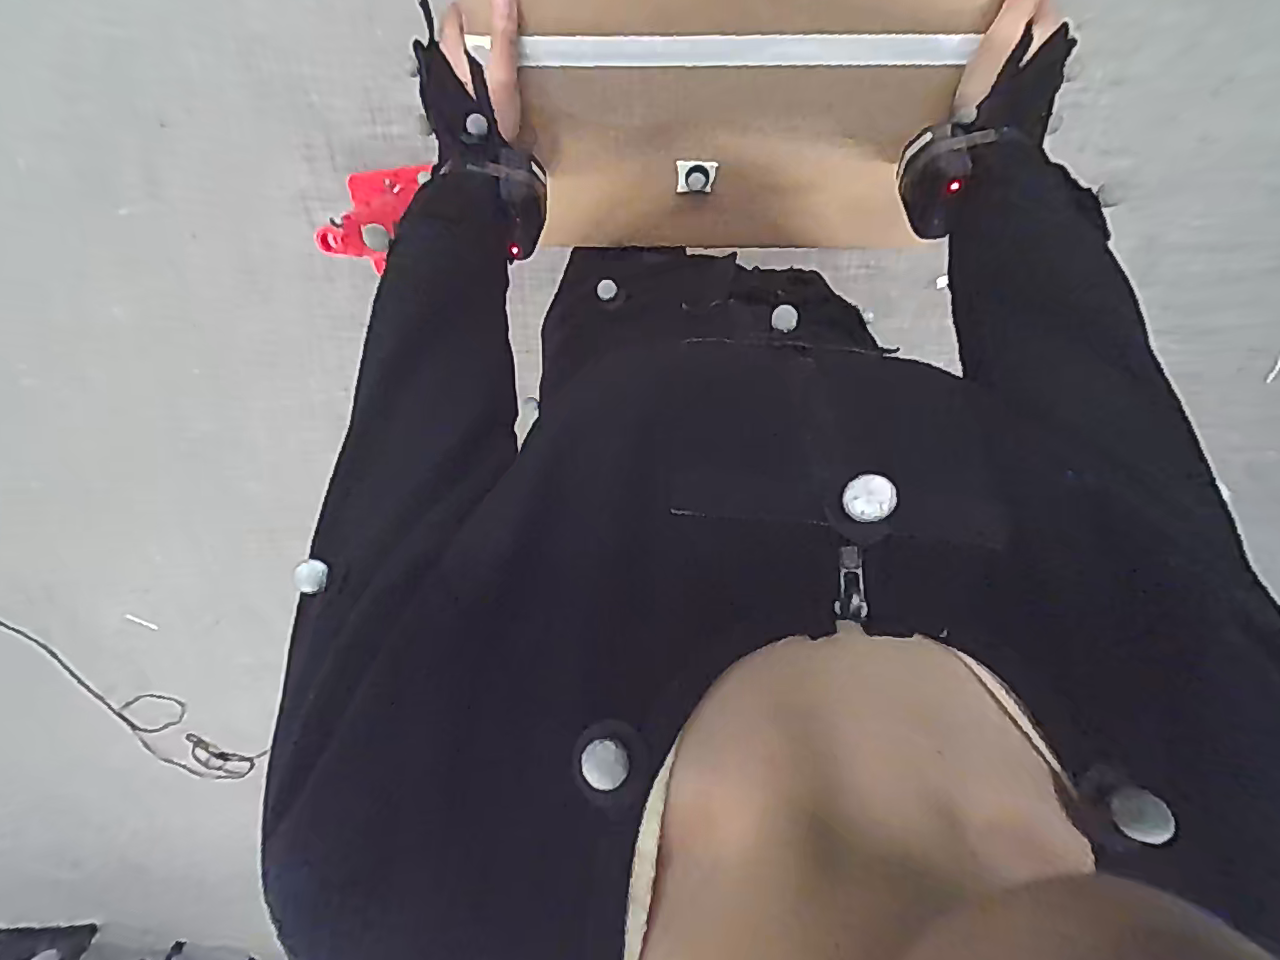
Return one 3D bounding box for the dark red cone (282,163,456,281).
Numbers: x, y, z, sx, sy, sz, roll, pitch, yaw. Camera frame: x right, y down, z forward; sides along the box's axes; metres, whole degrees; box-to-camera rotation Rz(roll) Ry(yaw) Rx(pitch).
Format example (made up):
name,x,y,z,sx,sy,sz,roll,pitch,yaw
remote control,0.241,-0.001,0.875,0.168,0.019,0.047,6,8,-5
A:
name,x,y,z,sx,sy,sz,roll,pitch,yaw
dark red cone,-0.492,-0.446,0.954,0.202,0.394,0.201,-7,116,4
